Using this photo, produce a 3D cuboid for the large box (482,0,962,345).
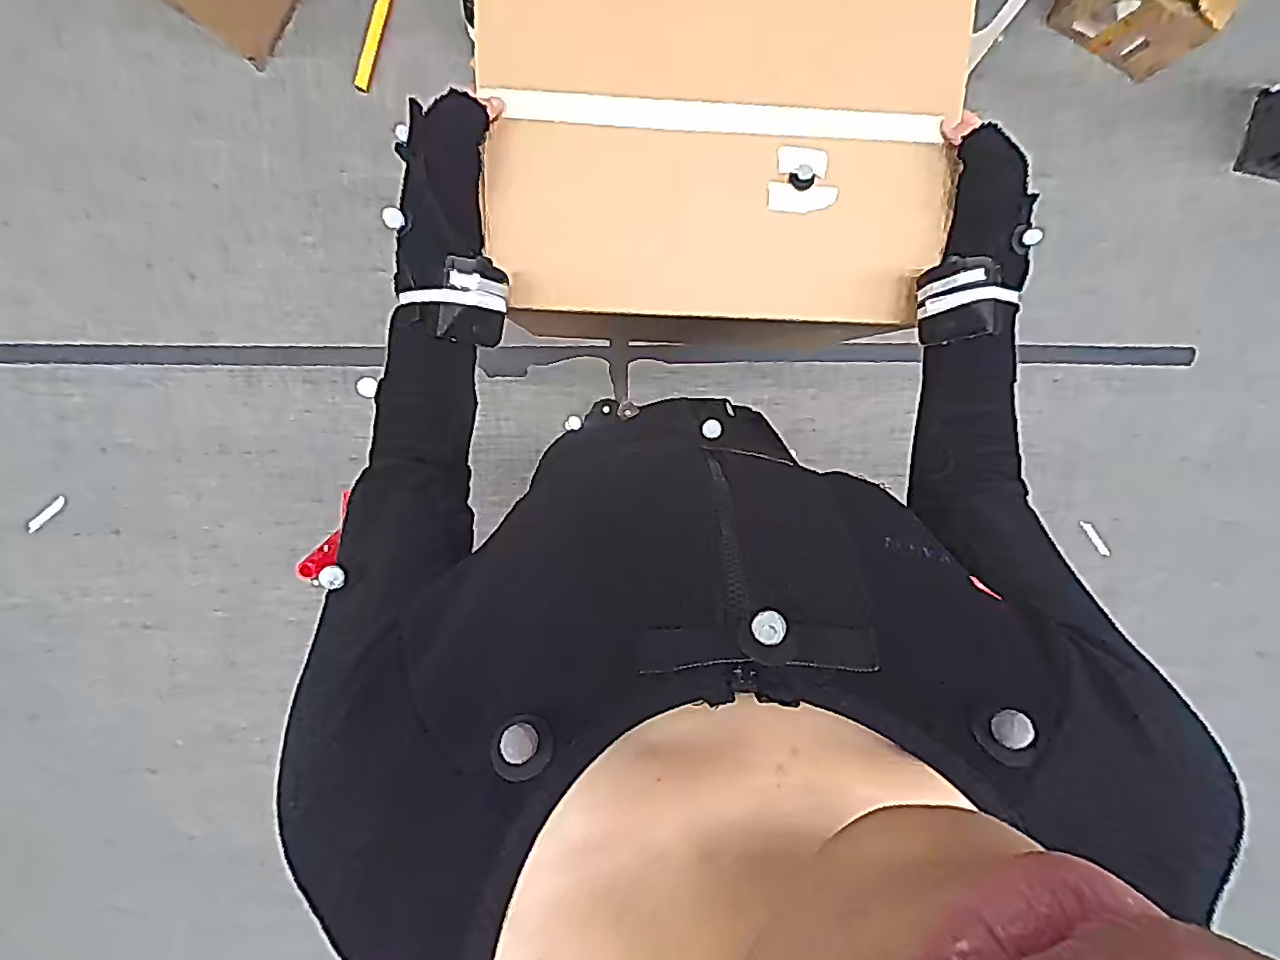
[{"bbox_3d":[0.058,-0.324,0.602,0.408,0.320,0.320,1,100,-5],"label":"large box"}]
